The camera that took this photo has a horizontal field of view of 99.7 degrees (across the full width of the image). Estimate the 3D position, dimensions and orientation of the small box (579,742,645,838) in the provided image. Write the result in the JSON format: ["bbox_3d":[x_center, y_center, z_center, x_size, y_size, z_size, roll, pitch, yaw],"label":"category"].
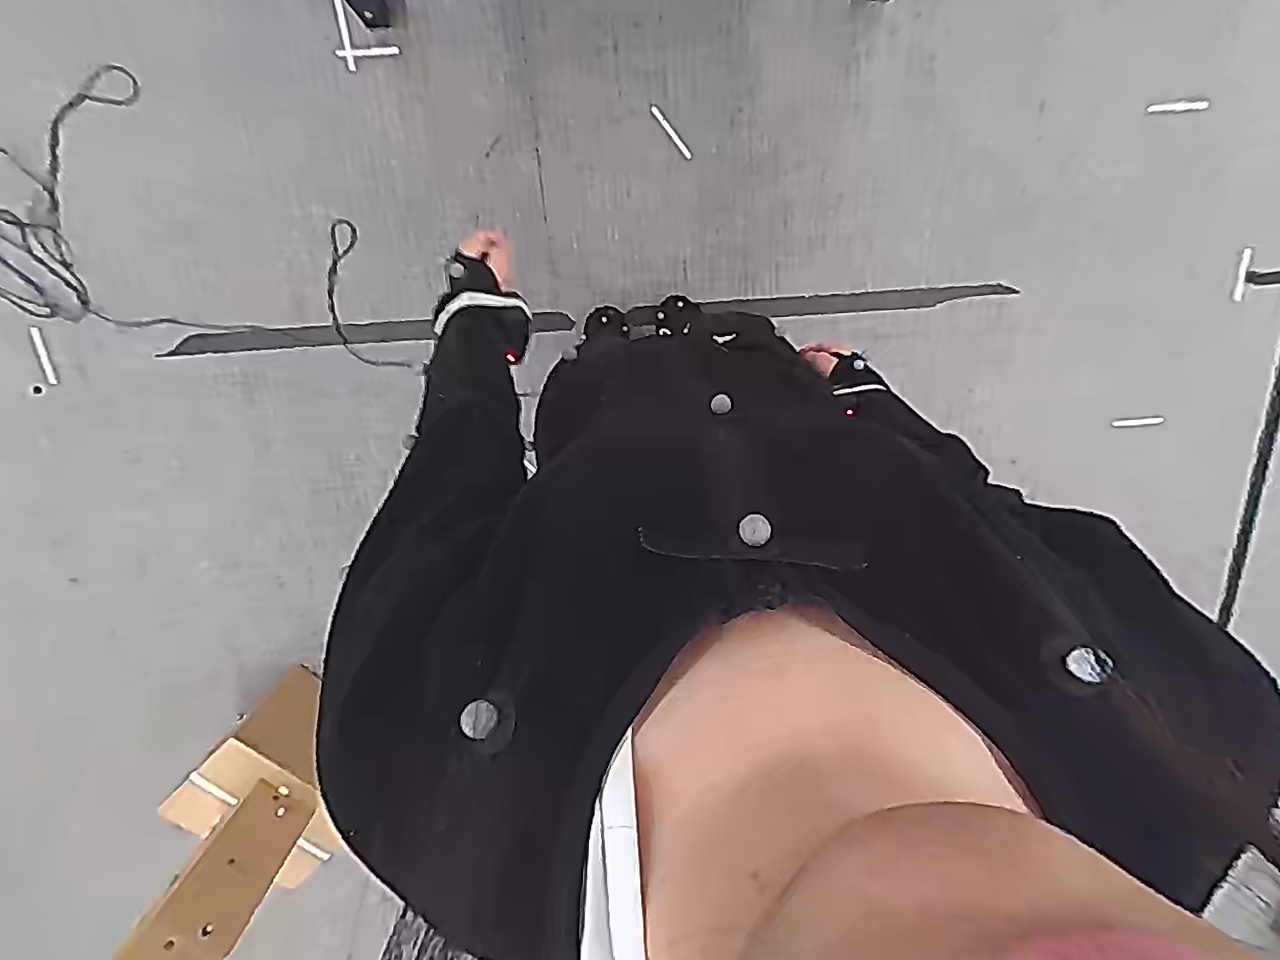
[{"bbox_3d":[-0.088,0.962,1.689,0.168,0.176,0.179,-15,105,-1],"label":"small box"}]

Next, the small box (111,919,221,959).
[{"bbox_3d":[-0.922,0.963,0.988,0.168,0.176,0.179,43,99,-13],"label":"small box"}]

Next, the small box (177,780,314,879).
[{"bbox_3d":[-0.937,0.877,1.303,0.168,0.176,0.179,43,98,-13],"label":"small box"}]

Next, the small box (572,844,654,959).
[{"bbox_3d":[-0.071,1.071,1.381,0.168,0.176,0.179,-15,107,1],"label":"small box"}]

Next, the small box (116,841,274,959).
[{"bbox_3d":[-0.930,0.923,1.146,0.168,0.176,0.179,43,100,-13],"label":"small box"}]
